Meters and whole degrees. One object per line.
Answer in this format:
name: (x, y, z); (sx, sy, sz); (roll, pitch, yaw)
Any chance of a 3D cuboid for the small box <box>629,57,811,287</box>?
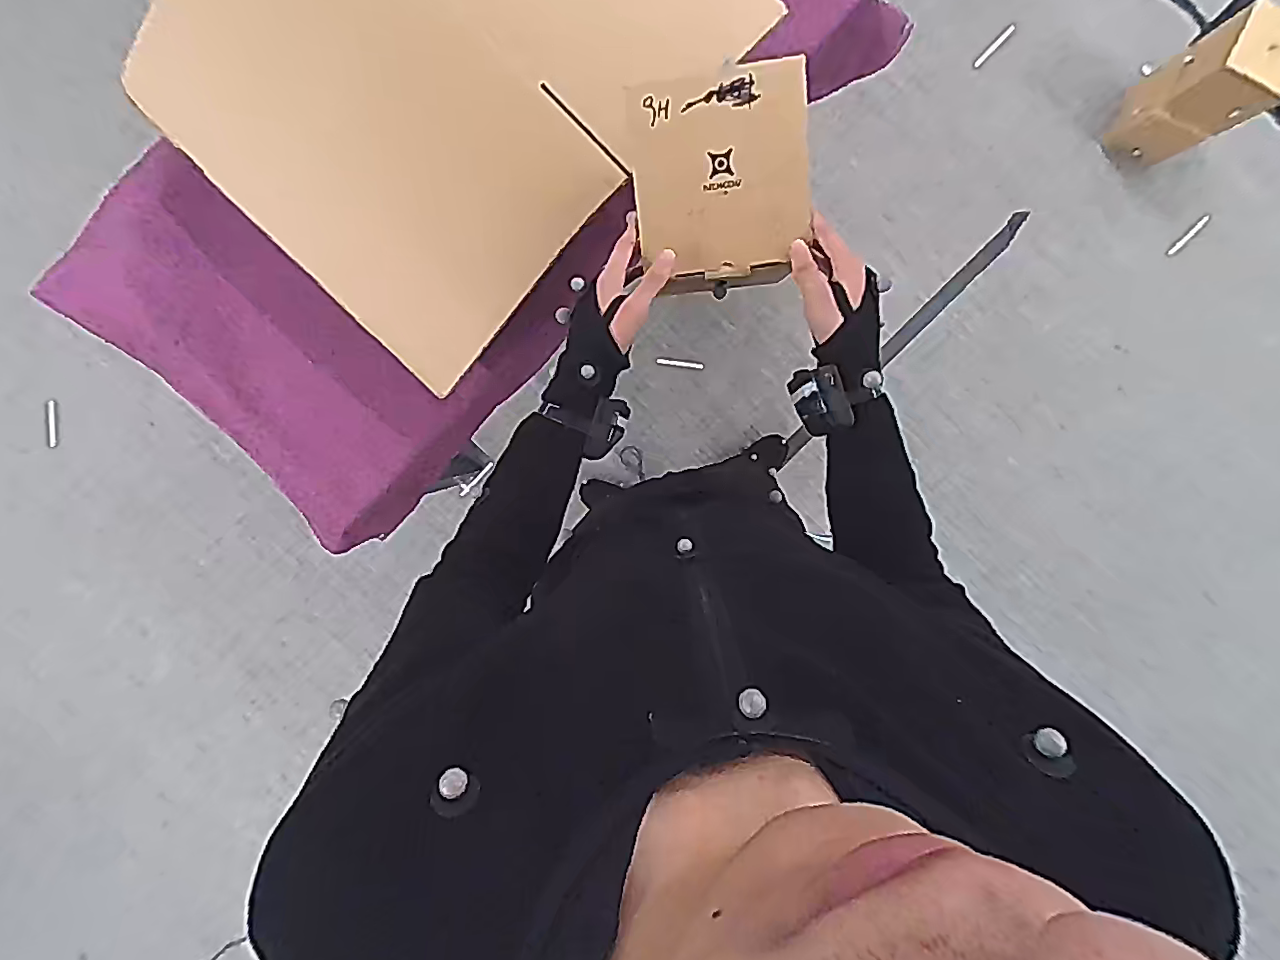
small box: (0.083, -0.310, 0.587); (0.168, 0.176, 0.179); (-5, 104, 4)
